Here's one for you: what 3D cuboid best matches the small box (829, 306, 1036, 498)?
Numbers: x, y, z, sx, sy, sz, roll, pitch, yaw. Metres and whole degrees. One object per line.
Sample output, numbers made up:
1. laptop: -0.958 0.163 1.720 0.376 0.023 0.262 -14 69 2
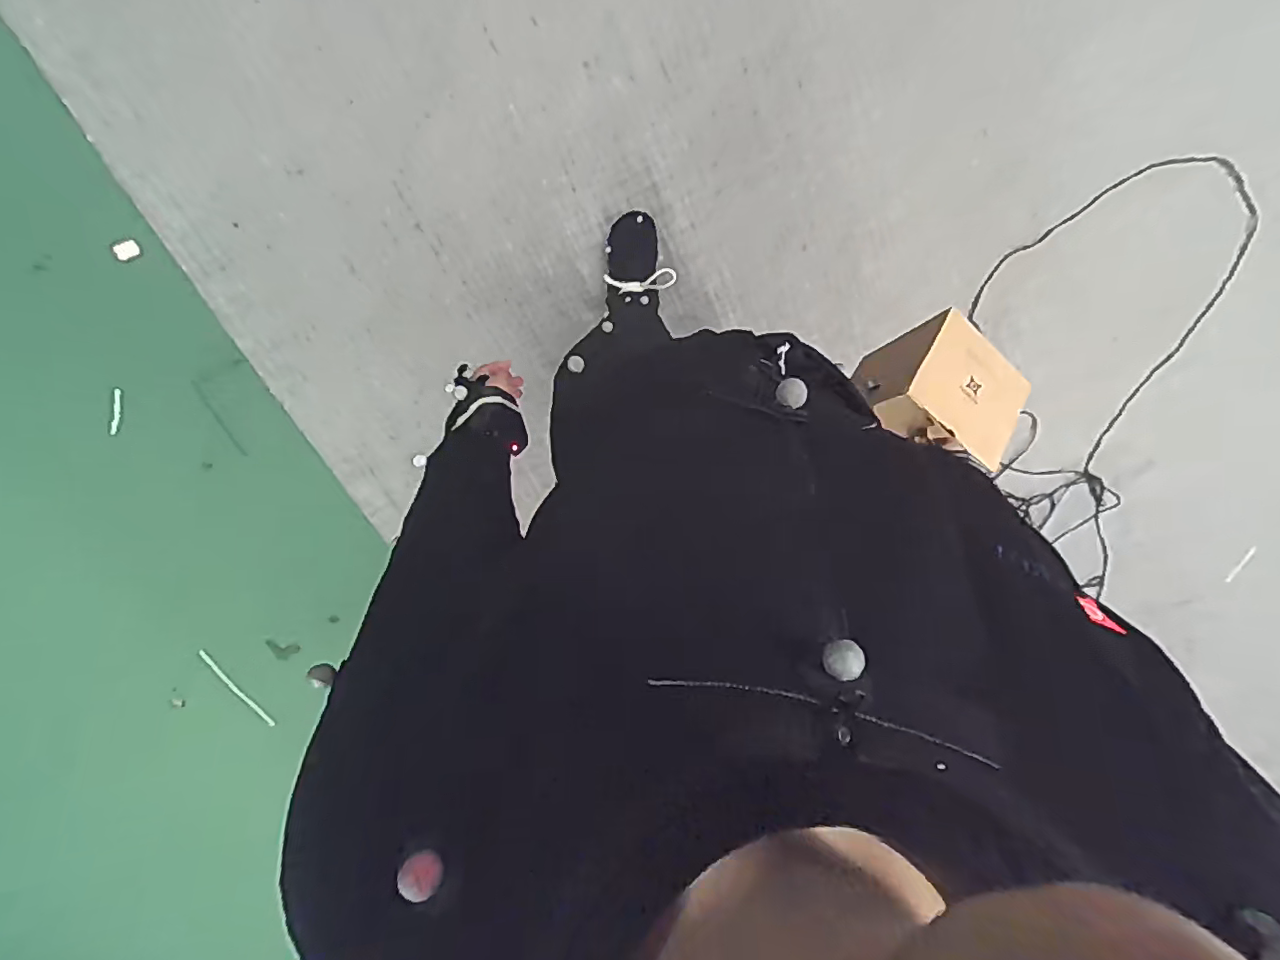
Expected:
1. small box: 0.398 -0.096 0.757 0.168 0.176 0.179 41 66 -9
